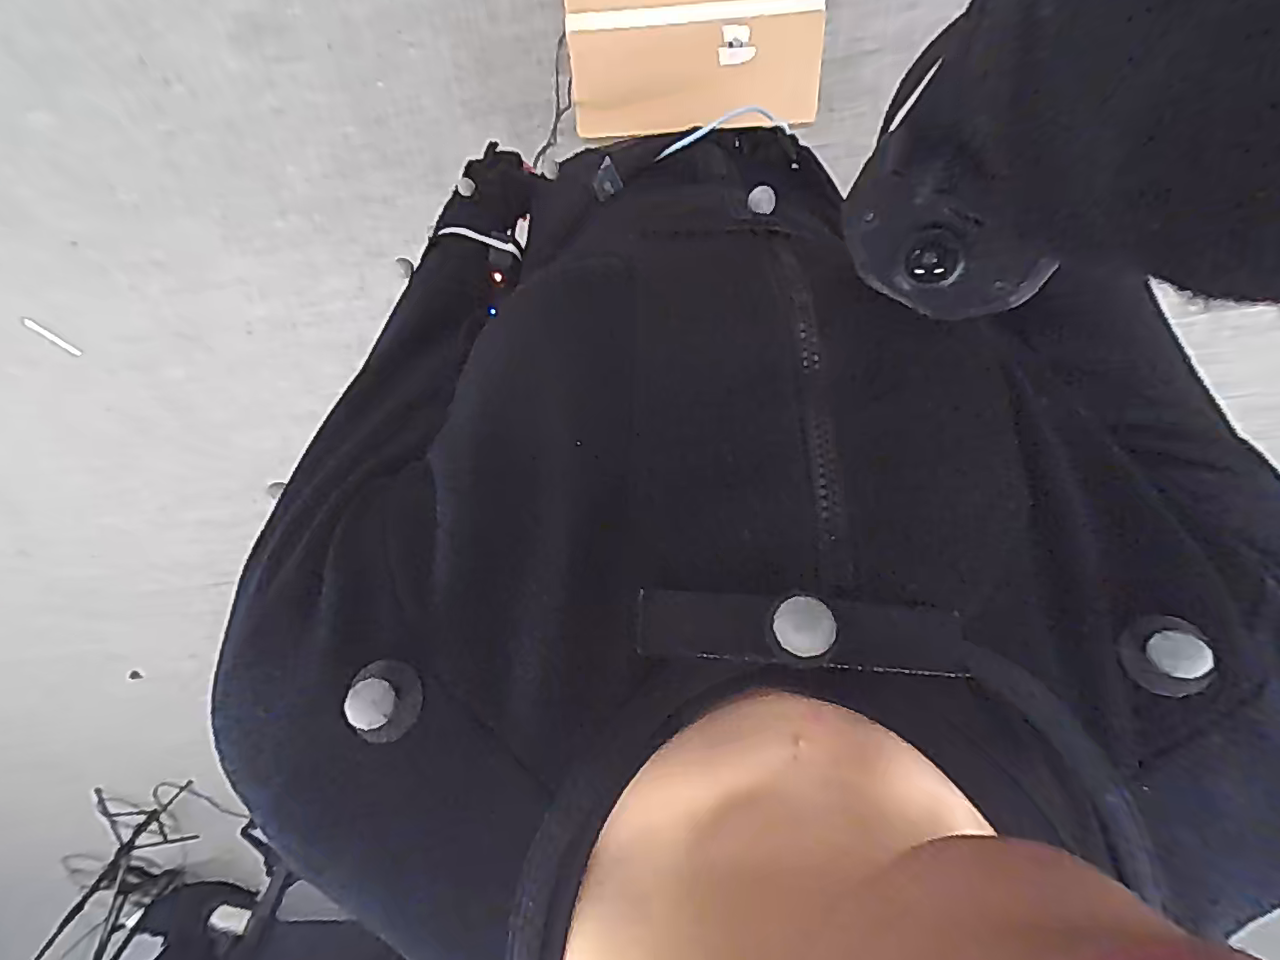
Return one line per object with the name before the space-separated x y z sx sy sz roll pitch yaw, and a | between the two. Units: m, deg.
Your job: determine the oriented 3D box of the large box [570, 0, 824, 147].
large box | 0.091 -0.807 0.985 0.408 0.320 0.320 -2 120 2
